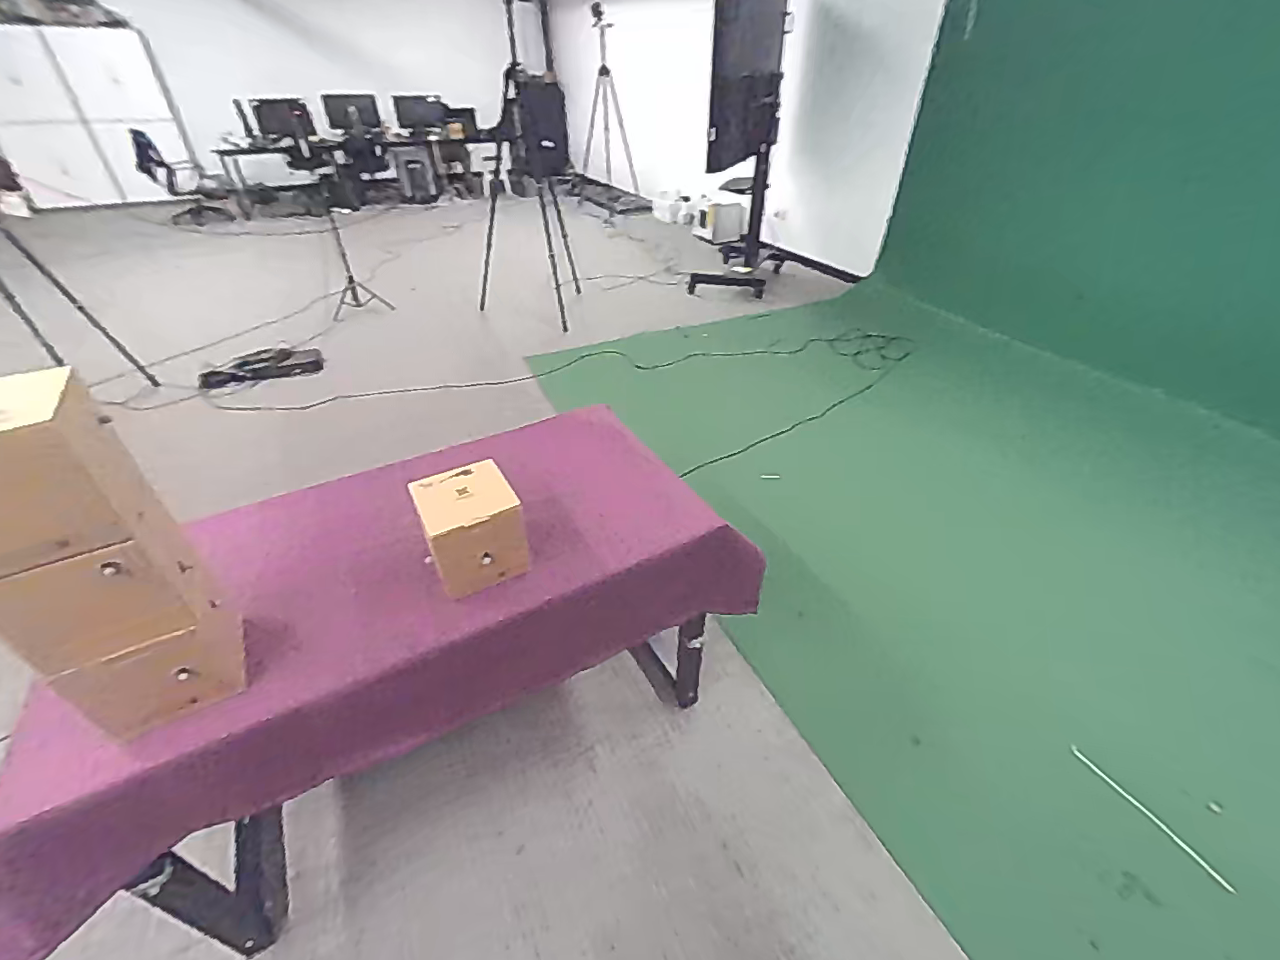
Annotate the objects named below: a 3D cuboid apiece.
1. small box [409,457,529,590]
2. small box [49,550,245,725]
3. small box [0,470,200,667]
[{"bbox_3d":[-0.326,0.088,1.046,0.168,0.176,0.179,-19,42,-24],"label":"small box"},{"bbox_3d":[-0.740,0.246,0.837,0.168,0.176,0.179,-19,41,-25],"label":"small box"},{"bbox_3d":[-0.743,0.118,0.737,0.179,0.176,0.168,-20,42,-27],"label":"small box"}]
